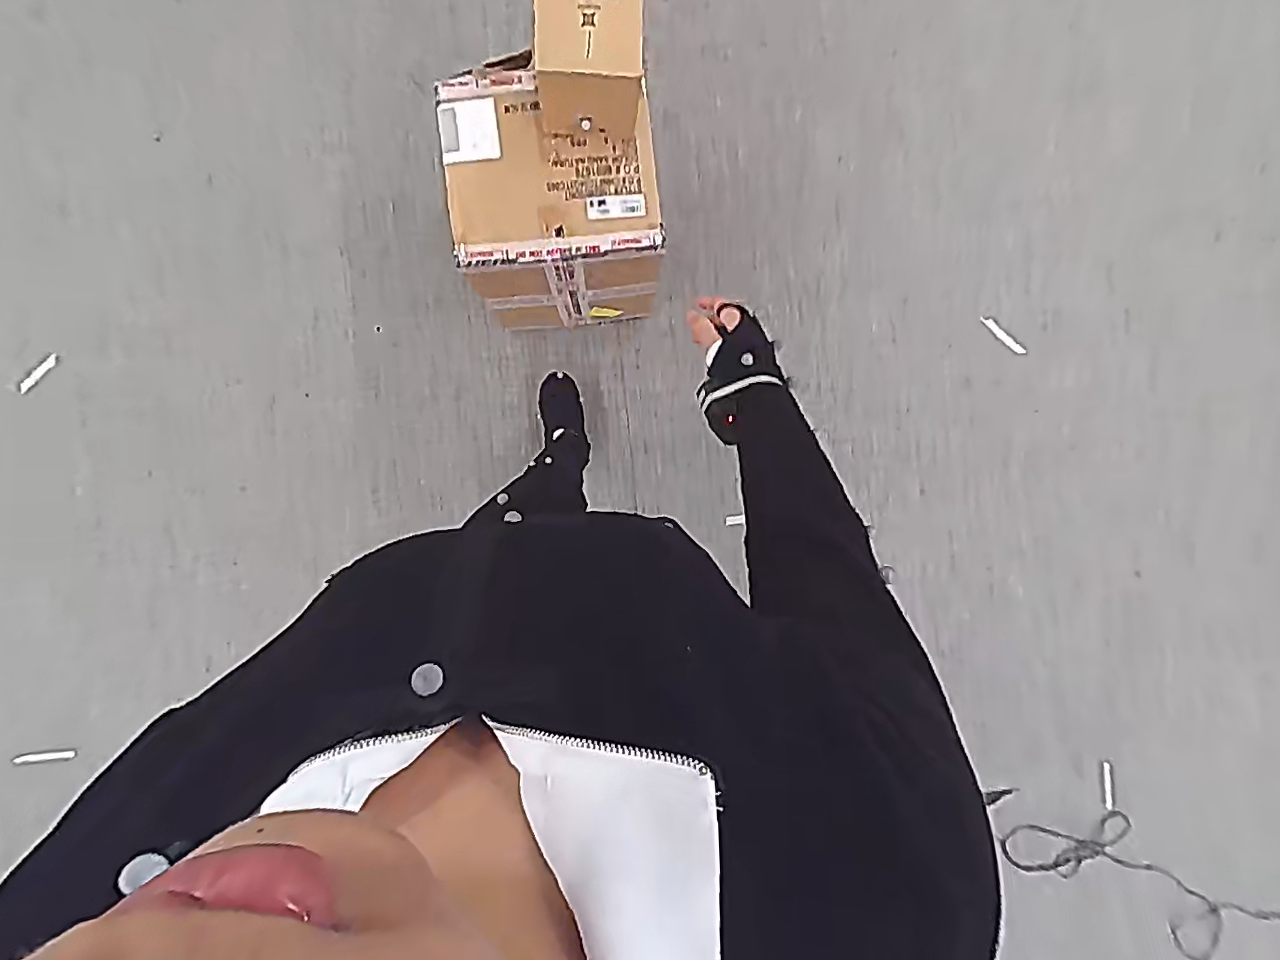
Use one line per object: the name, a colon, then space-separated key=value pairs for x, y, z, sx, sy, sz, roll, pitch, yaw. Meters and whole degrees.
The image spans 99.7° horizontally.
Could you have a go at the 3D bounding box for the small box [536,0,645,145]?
small box: x=-0.082 y=-0.697 z=0.896 sx=0.168 sy=0.176 sz=0.179 roll=1 pitch=93 yaw=-5
